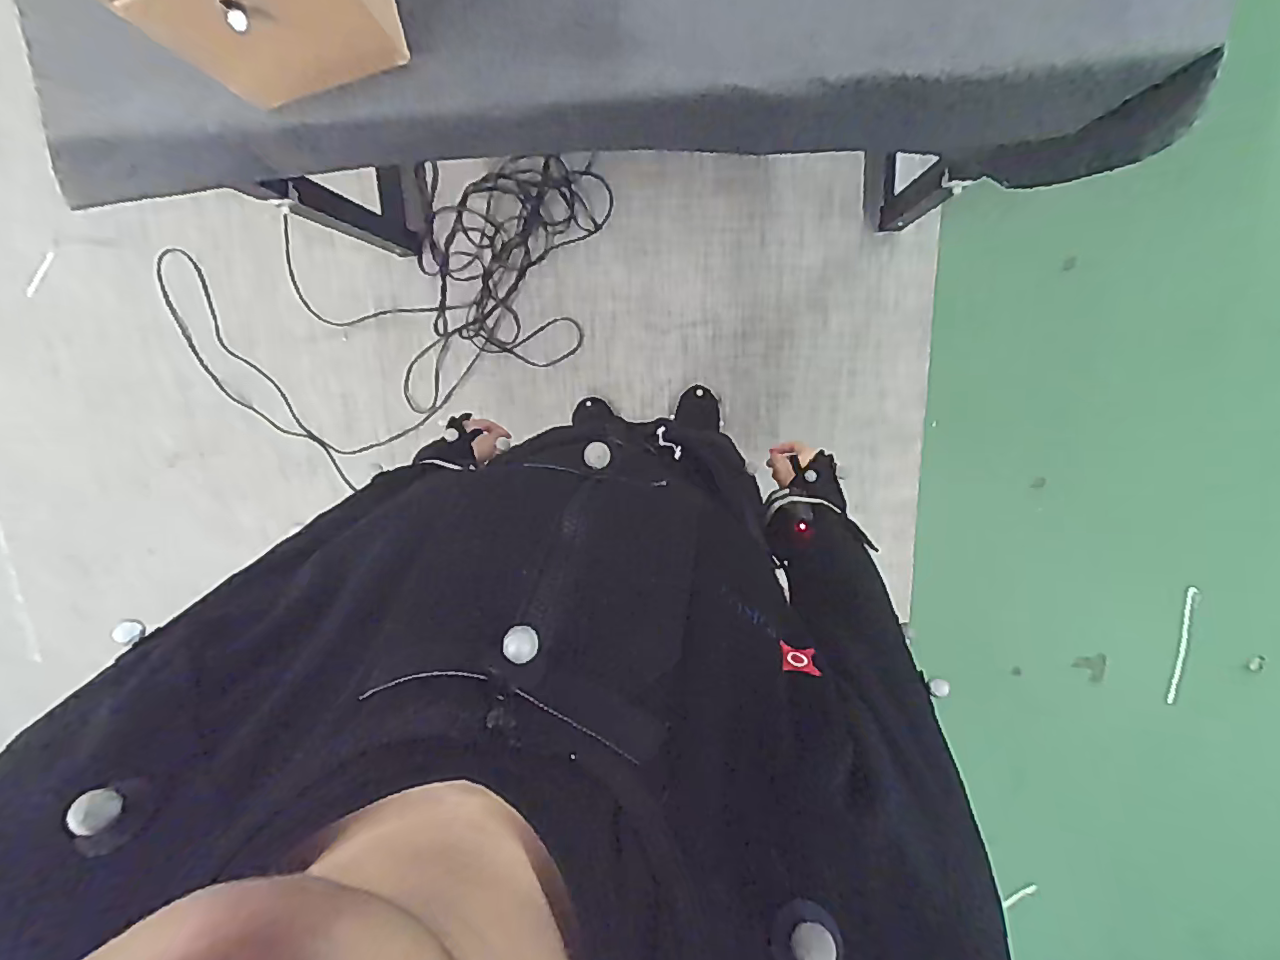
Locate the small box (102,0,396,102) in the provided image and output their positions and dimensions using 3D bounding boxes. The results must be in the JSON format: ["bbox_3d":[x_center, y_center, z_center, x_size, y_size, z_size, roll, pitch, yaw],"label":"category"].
[{"bbox_3d":[-0.341,-0.475,0.471,0.179,0.176,0.168,-12,99,7],"label":"small box"}]
